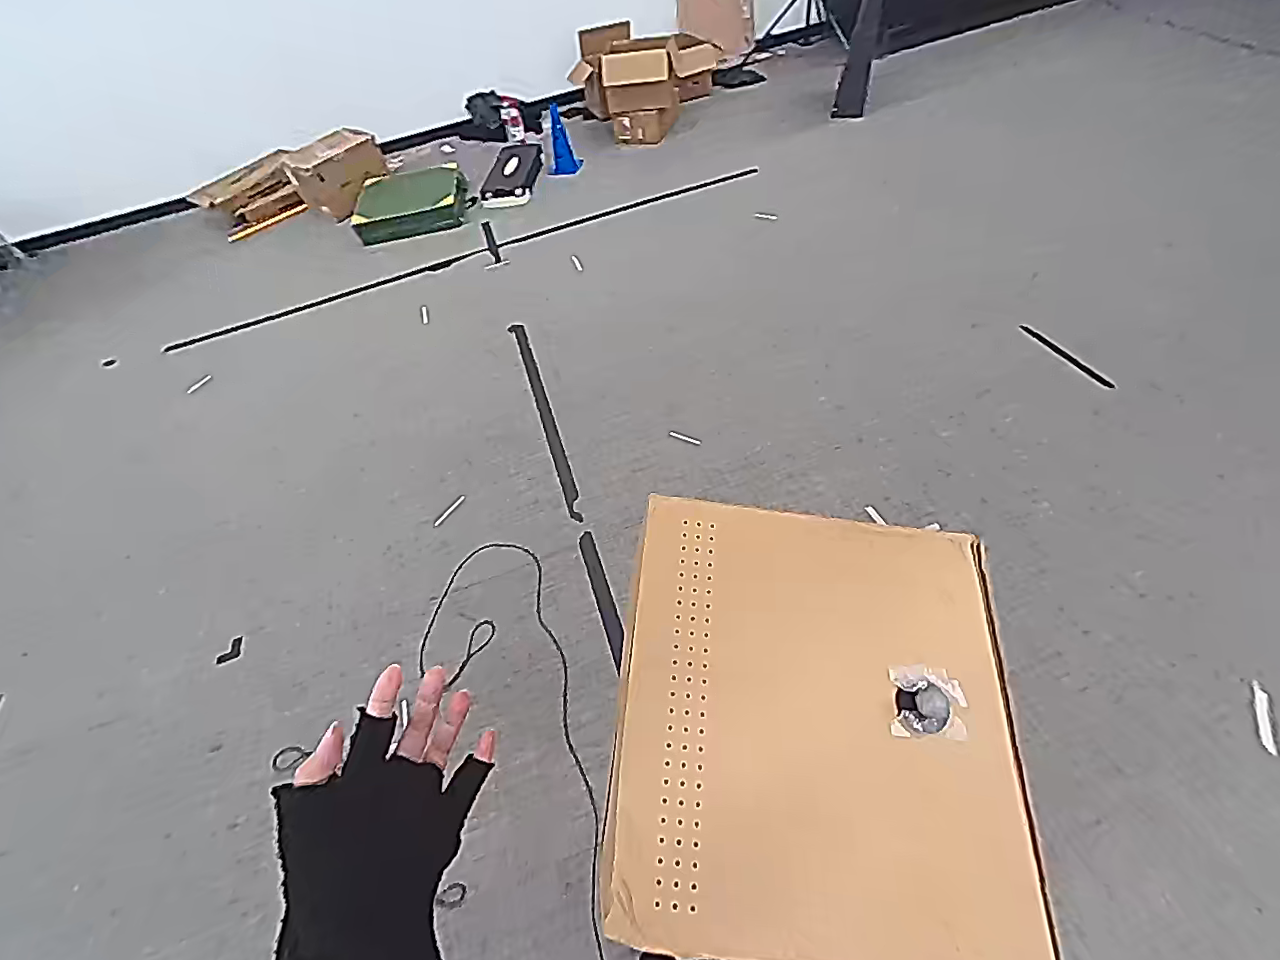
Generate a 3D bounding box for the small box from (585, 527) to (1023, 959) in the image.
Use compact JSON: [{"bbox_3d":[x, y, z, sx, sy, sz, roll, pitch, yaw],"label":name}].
[{"bbox_3d":[0.064,0.138,0.309,0.176,0.168,0.179,7,63,0],"label":"small box"}]
